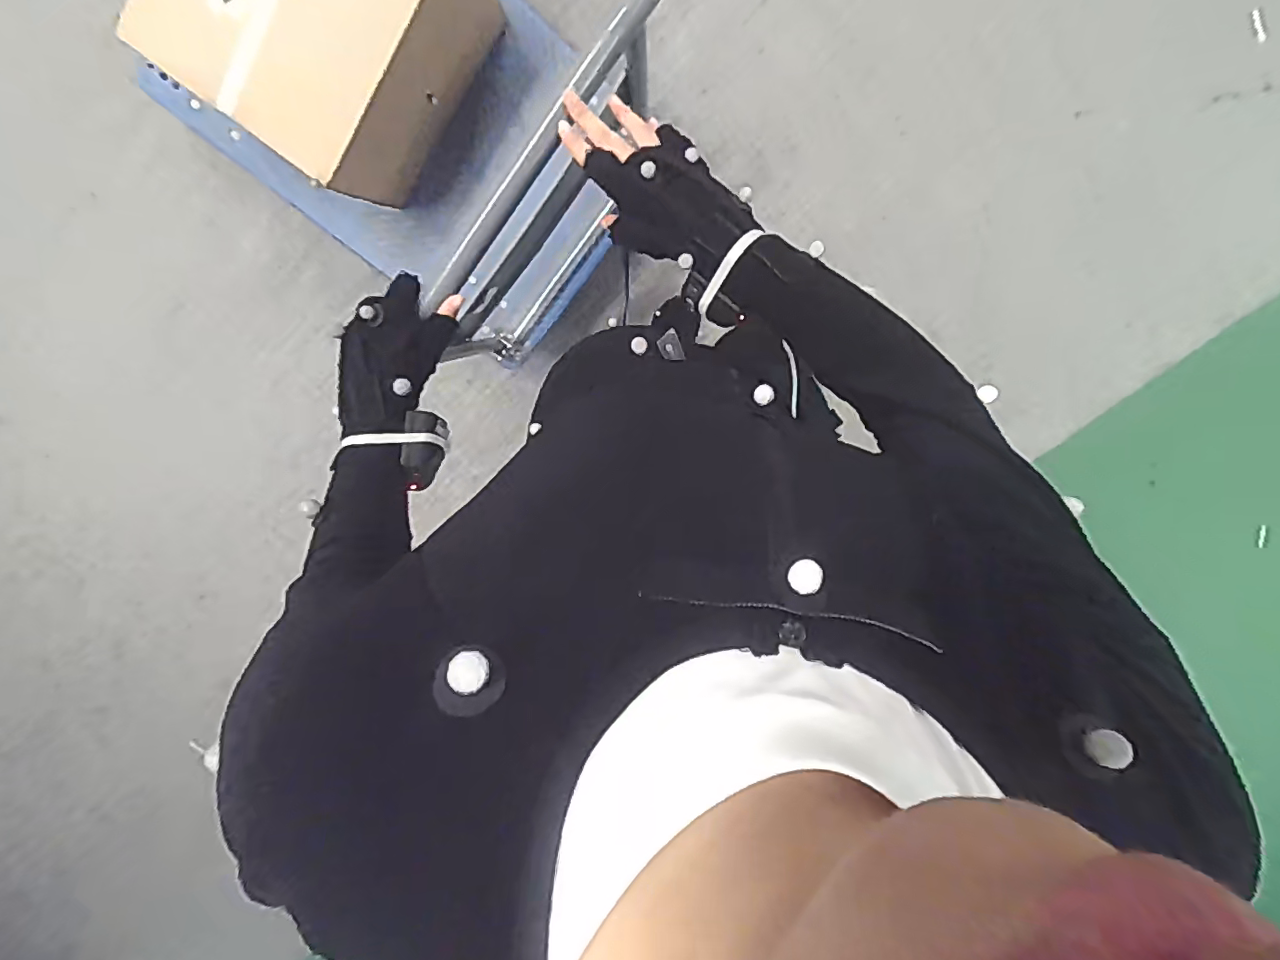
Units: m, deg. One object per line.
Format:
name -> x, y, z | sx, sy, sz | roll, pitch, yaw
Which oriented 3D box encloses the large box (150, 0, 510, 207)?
large box -> -0.465, -0.732, 0.883 | 0.320, 0.320, 0.408 | 34, 107, -13
